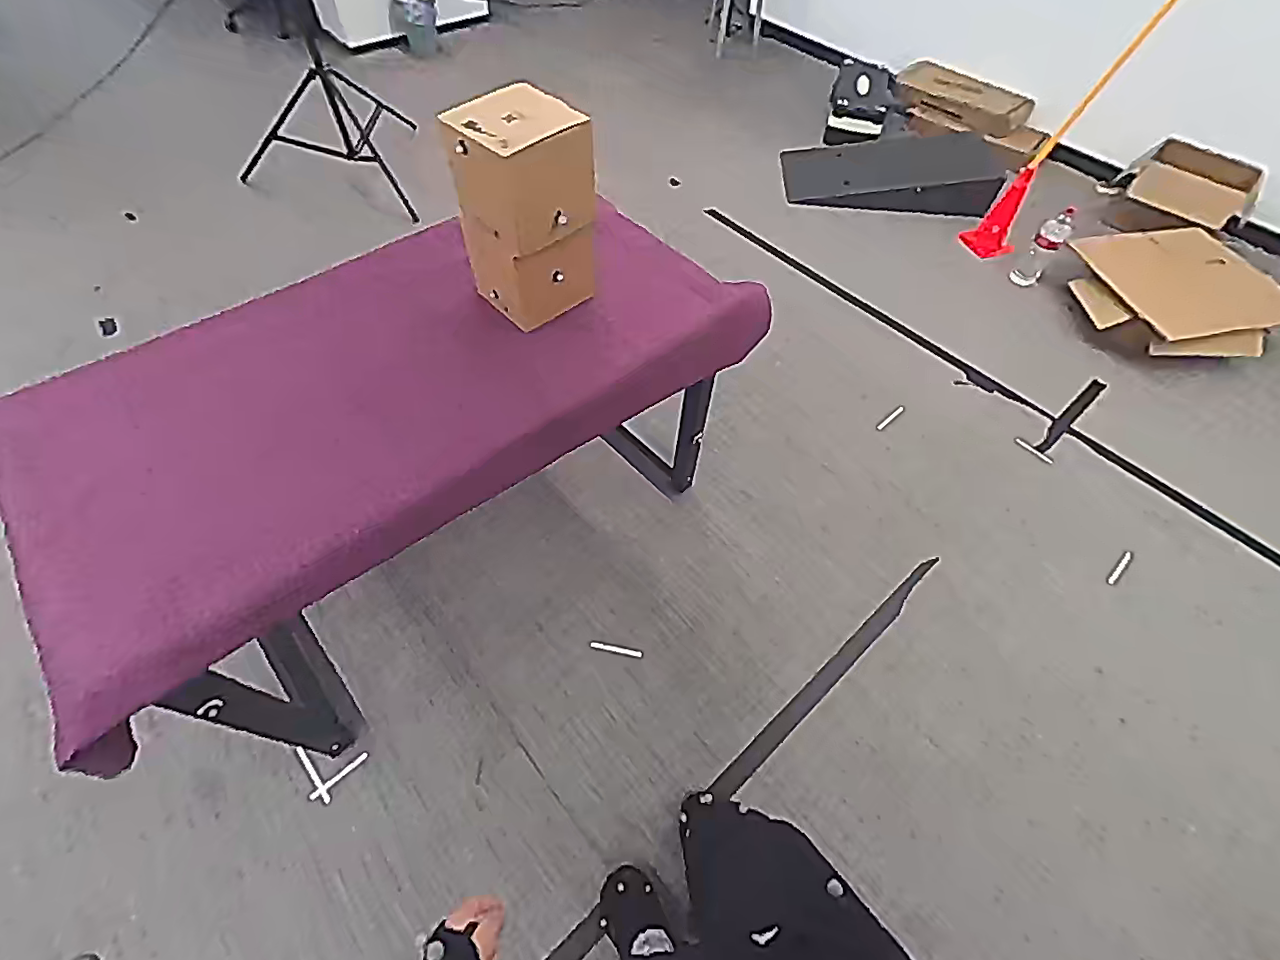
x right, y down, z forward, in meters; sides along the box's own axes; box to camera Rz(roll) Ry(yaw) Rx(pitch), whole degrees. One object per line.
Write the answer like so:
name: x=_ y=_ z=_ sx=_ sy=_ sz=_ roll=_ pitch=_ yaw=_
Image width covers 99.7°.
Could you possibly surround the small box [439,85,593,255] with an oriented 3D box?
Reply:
small box: x=-0.195 y=-0.509 z=0.895 sx=0.168 sy=0.176 sz=0.179 roll=39 pitch=63 yaw=21
